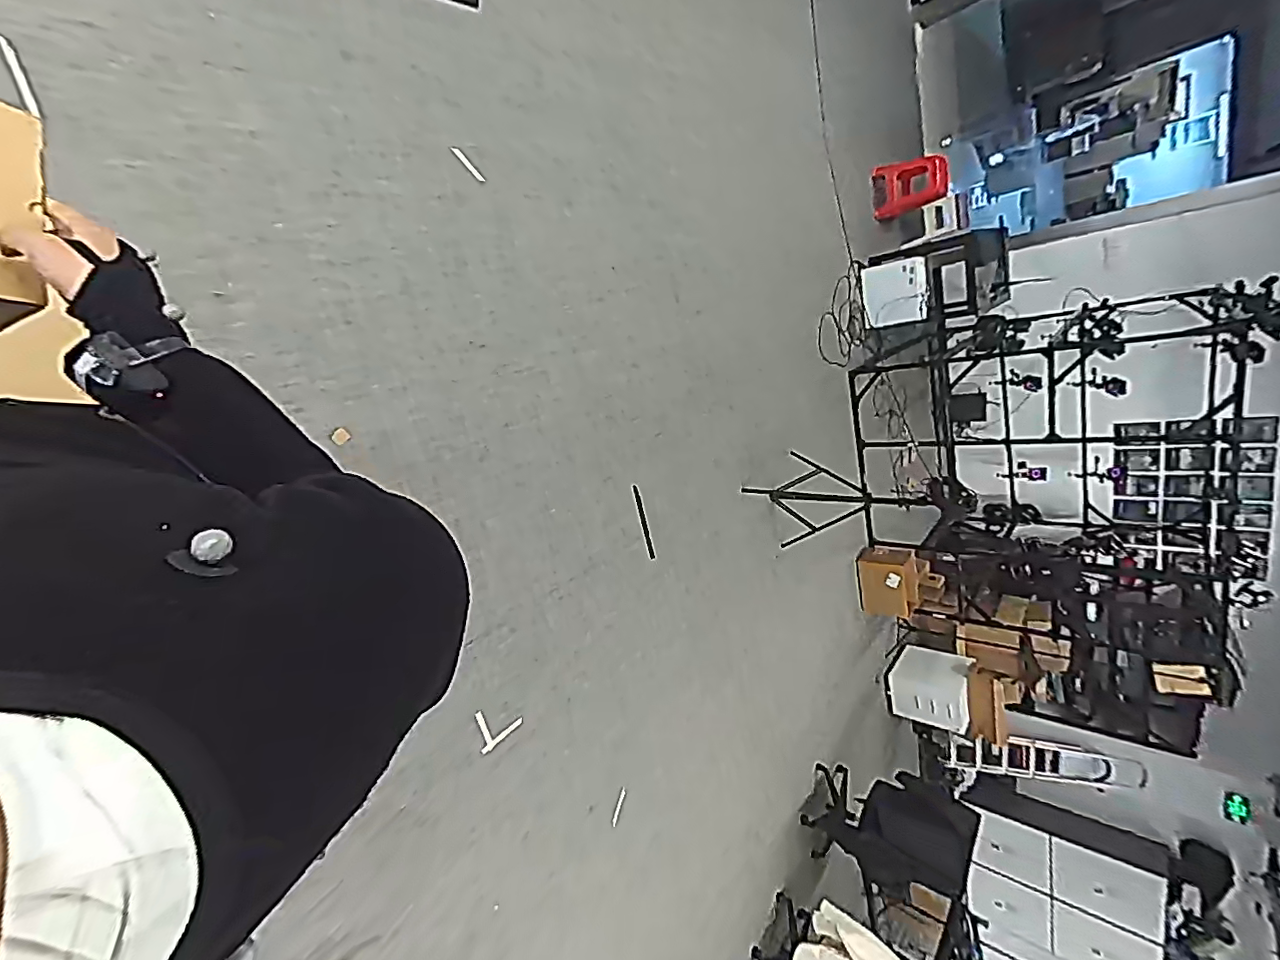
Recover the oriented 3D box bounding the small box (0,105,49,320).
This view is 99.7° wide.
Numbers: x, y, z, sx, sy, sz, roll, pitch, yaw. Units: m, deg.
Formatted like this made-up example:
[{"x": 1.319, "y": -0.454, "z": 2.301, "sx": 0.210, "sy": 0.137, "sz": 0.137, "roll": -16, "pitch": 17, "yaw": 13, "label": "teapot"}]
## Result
[{"x": -0.631, "y": -0.230, "z": 0.440, "sx": 0.179, "sy": 0.176, "sz": 0.168, "roll": -2, "pitch": 93, "yaw": -60, "label": "small box"}]
